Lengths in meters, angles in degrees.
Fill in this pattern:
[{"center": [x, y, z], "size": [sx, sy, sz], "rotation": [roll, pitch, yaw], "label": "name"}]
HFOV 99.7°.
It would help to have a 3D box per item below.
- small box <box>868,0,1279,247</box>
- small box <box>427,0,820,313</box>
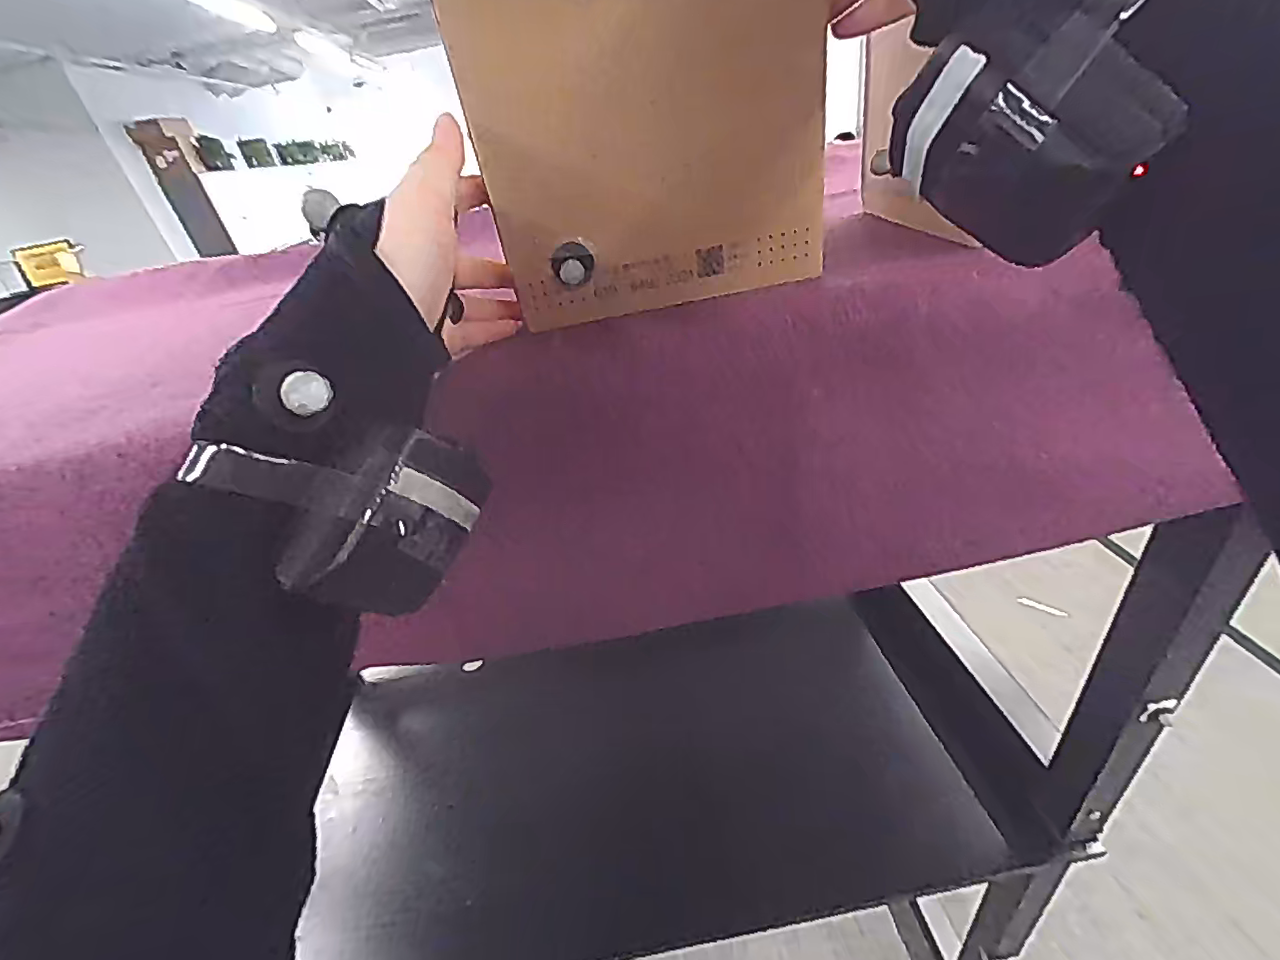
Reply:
[{"center": [0.244, -0.245, 0.301], "size": [0.179, 0.176, 0.168], "rotation": [-10, 32, 4], "label": "small box"}, {"center": [-0.003, -0.207, 0.311], "size": [0.168, 0.176, 0.179], "rotation": [-11, 34, 0], "label": "small box"}]
